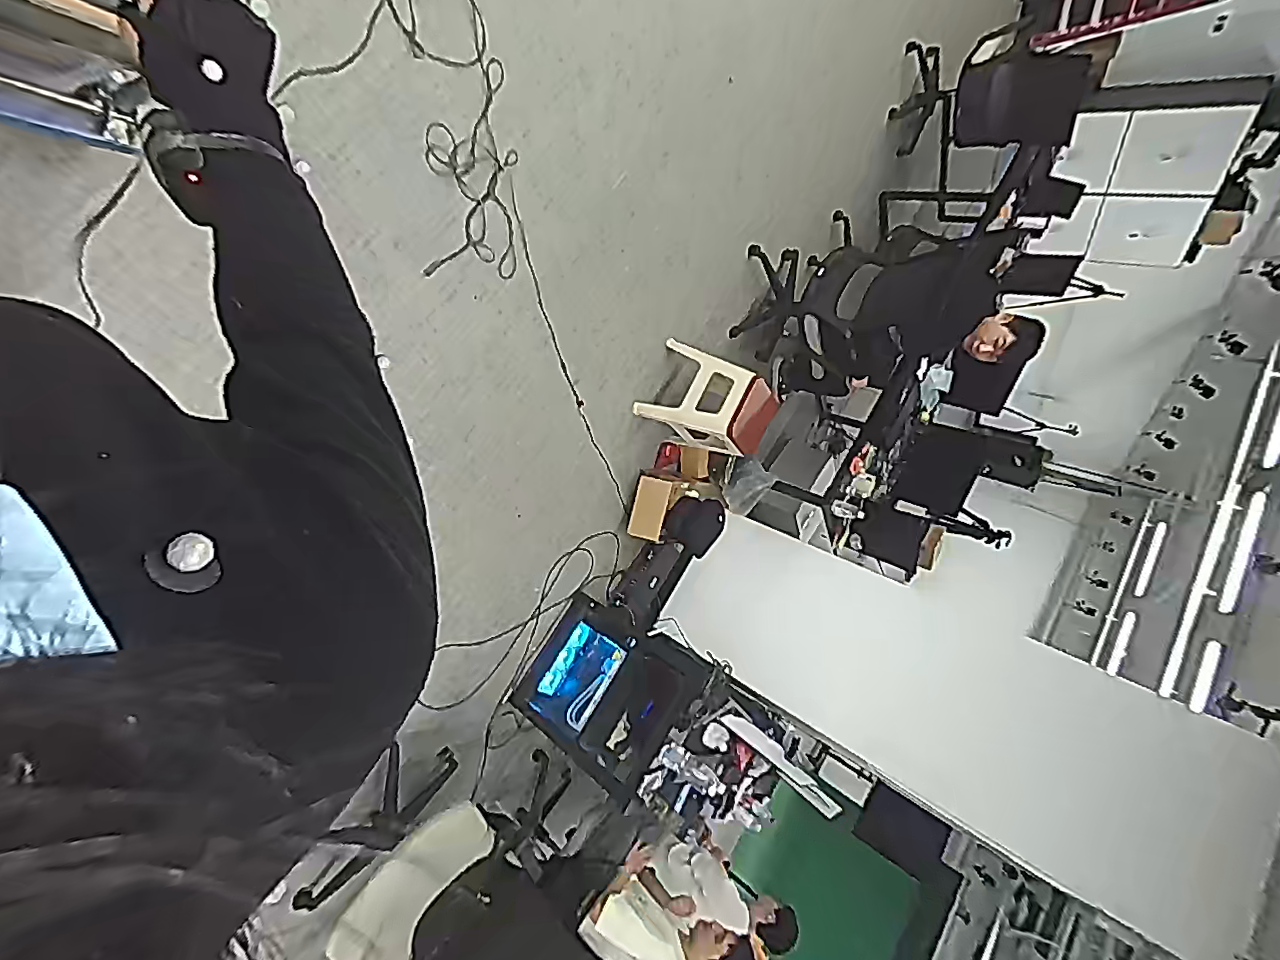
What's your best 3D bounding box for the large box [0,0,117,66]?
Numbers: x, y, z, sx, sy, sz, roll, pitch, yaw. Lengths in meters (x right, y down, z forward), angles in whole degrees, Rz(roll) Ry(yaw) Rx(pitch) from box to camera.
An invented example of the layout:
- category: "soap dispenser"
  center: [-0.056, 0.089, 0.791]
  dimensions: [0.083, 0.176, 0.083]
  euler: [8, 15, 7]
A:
- category: "large box"
  center: [-0.844, -0.697, 0.540]
  dimensions: [0.408, 0.320, 0.320]
  euler: [-10, 117, -53]
